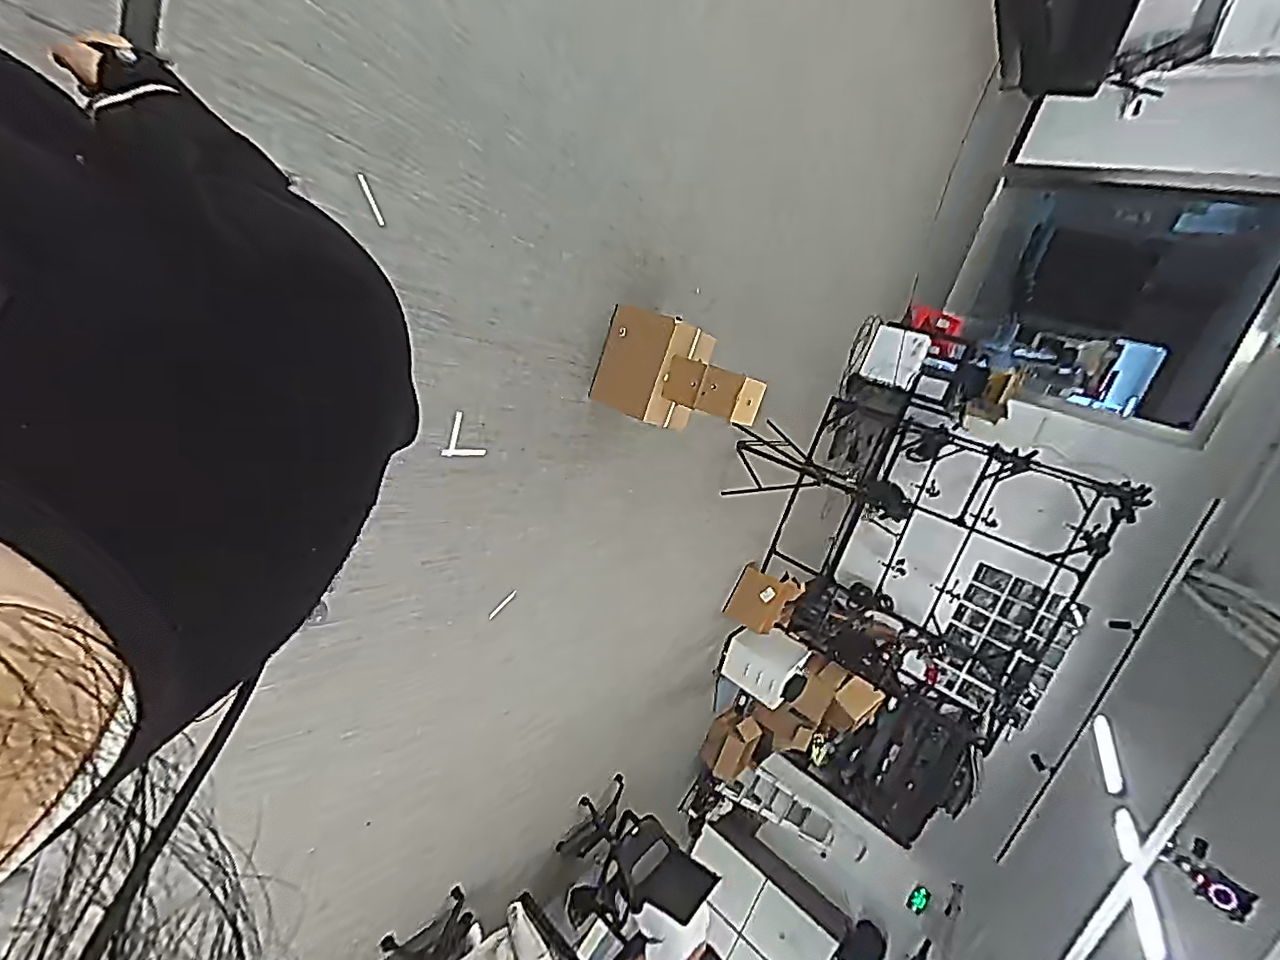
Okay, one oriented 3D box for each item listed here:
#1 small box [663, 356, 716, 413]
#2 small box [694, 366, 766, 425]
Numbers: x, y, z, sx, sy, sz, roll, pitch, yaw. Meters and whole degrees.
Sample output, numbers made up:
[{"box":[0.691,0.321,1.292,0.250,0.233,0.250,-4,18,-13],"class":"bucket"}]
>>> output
[{"box":[0.214,-0.369,2.086,0.168,0.176,0.179,0,113,-52],"class":"small box"},{"box":[0.330,-0.311,1.988,0.179,0.176,0.168,1,111,-52],"class":"small box"}]
